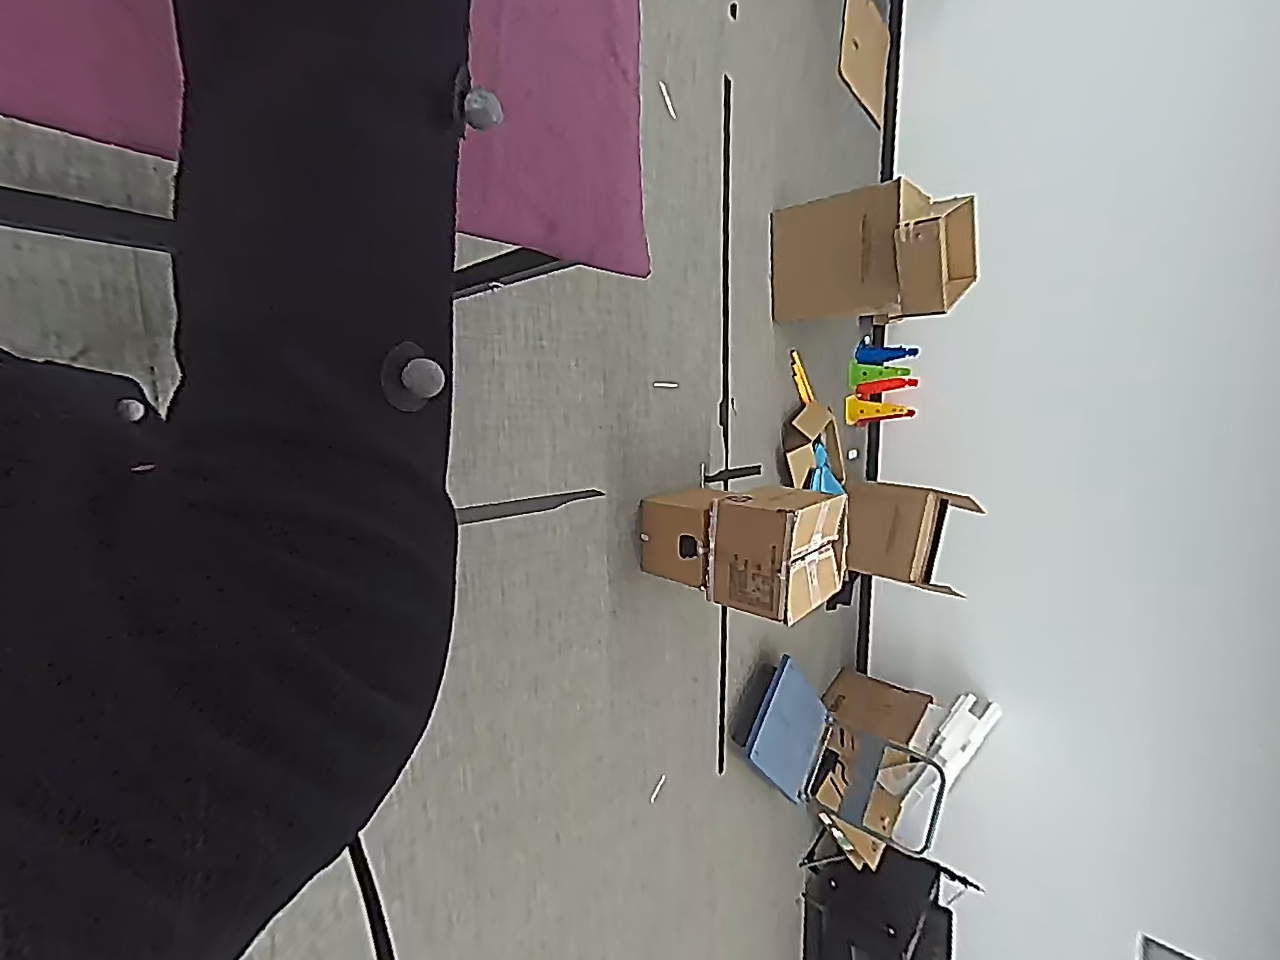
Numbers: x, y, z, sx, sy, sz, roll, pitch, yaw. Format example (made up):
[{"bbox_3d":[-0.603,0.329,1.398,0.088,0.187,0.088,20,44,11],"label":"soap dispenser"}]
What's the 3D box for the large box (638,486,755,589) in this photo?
[{"bbox_3d":[0.237,0.217,2.241,0.408,0.320,0.320,-10,103,-47],"label":"large box"}]
